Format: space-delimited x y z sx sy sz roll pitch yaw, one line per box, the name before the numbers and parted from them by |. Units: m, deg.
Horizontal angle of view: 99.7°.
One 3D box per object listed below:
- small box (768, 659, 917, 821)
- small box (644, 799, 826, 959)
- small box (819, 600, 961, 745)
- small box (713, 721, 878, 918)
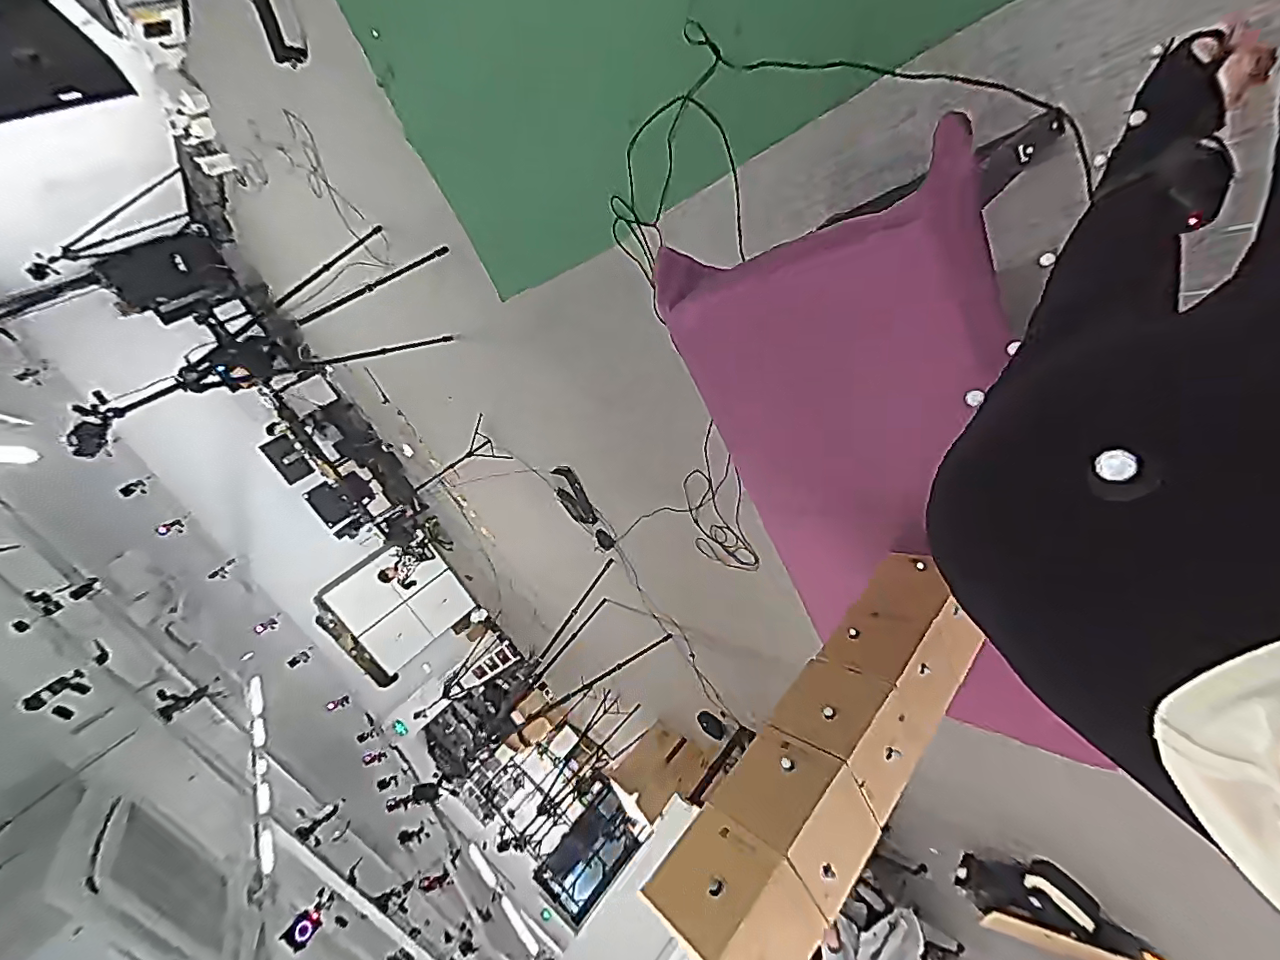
small box | 0.368 0.449 0.966 0.179 0.176 0.168 -1 122 55
small box | 0.144 0.628 0.809 0.168 0.176 0.179 -1 123 56
small box | 0.482 0.357 1.038 0.168 0.176 0.179 1 125 55
small box | 0.258 0.540 0.884 0.168 0.176 0.179 -1 122 56
